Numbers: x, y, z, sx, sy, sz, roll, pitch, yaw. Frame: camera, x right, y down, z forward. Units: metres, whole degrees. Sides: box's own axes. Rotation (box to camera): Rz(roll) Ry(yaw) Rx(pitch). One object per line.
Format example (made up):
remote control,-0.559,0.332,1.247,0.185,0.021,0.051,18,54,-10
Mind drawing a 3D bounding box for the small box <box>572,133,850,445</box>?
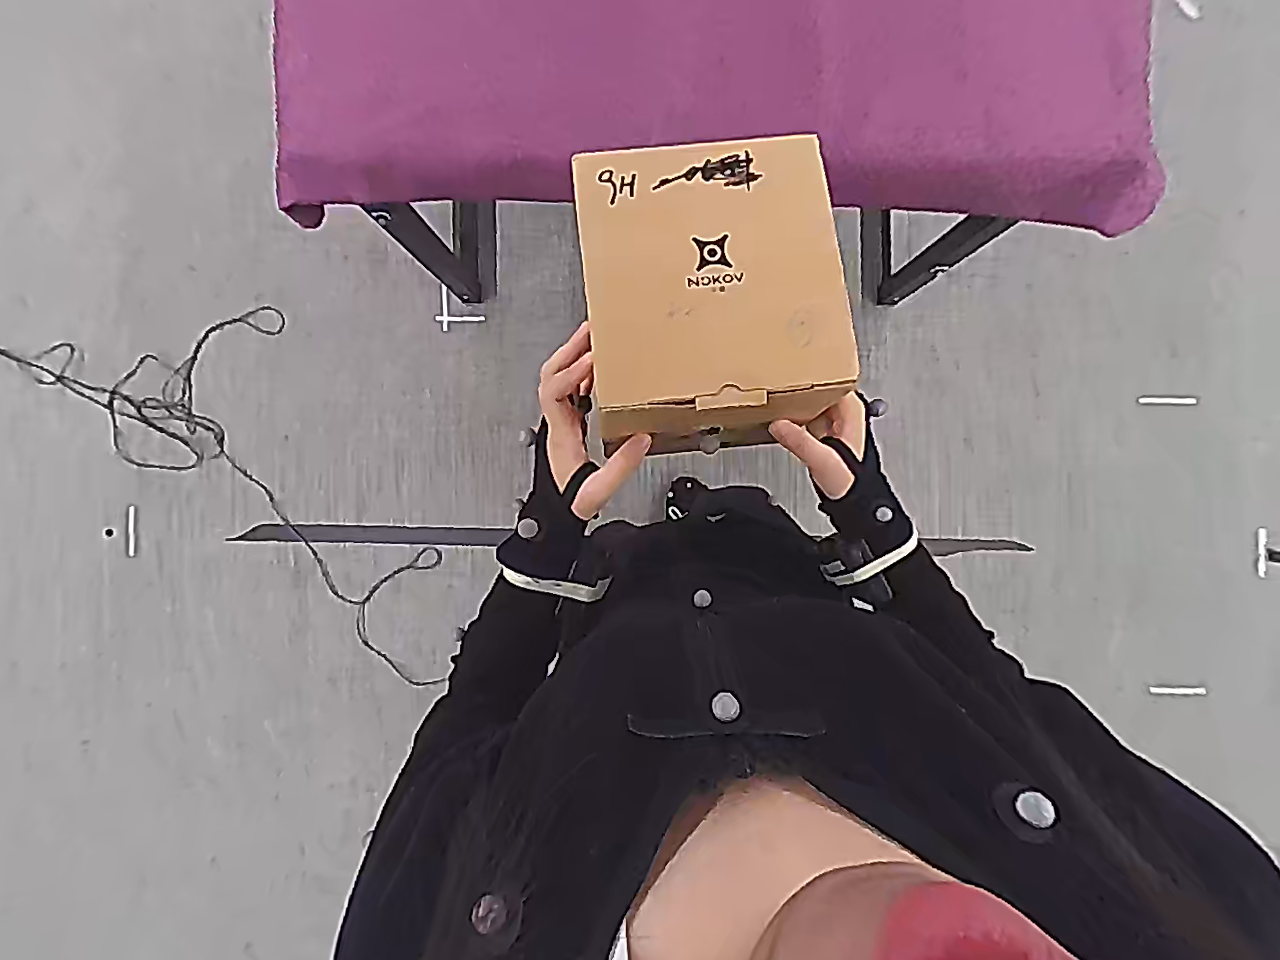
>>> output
small box,0.042,-0.128,0.426,0.168,0.176,0.179,-6,82,-2
